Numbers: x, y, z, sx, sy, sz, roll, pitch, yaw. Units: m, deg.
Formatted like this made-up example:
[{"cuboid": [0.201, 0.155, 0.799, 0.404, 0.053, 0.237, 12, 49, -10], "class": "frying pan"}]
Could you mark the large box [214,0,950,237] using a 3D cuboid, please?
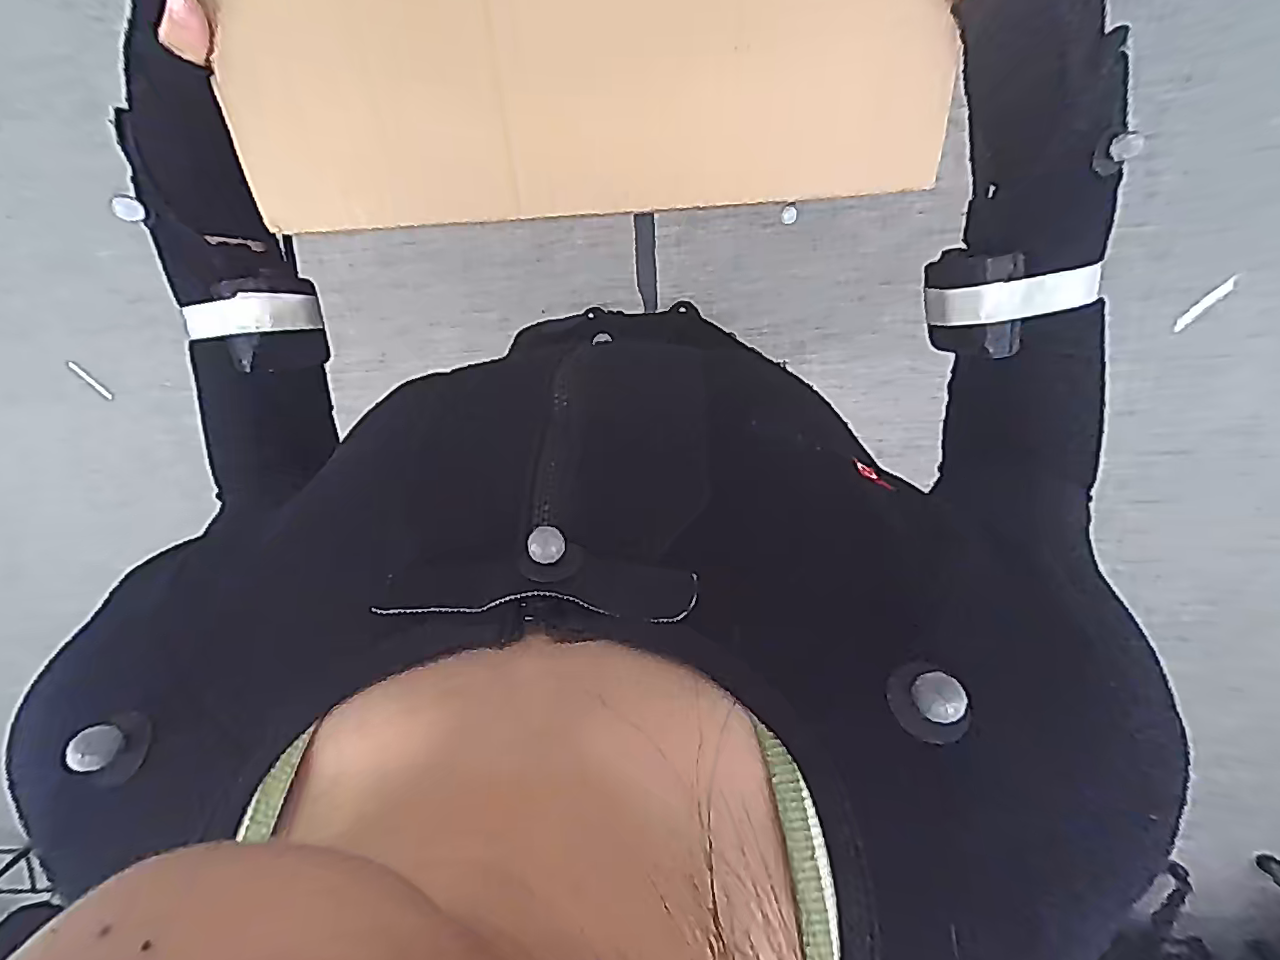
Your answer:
[{"cuboid": [-0.029, -0.376, 0.394, 0.408, 0.320, 0.320, -1, 119, 6], "class": "large box"}]
